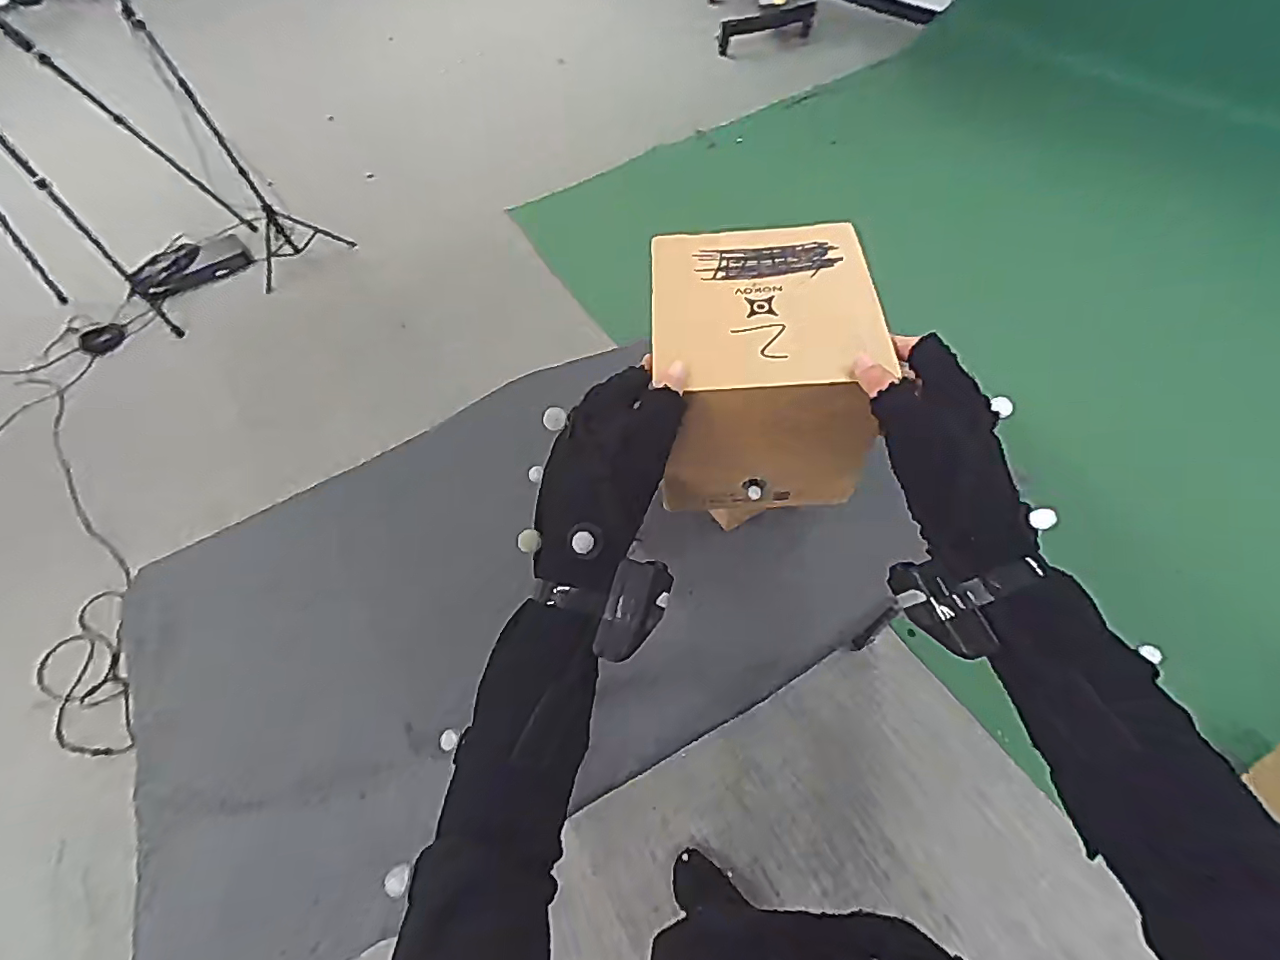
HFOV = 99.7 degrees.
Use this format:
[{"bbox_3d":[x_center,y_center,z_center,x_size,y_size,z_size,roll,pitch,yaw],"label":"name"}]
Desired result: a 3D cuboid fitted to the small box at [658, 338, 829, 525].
[{"bbox_3d":[0.142,-0.067,0.793,0.168,0.176,0.179,-30,58,-13],"label":"small box"}]
